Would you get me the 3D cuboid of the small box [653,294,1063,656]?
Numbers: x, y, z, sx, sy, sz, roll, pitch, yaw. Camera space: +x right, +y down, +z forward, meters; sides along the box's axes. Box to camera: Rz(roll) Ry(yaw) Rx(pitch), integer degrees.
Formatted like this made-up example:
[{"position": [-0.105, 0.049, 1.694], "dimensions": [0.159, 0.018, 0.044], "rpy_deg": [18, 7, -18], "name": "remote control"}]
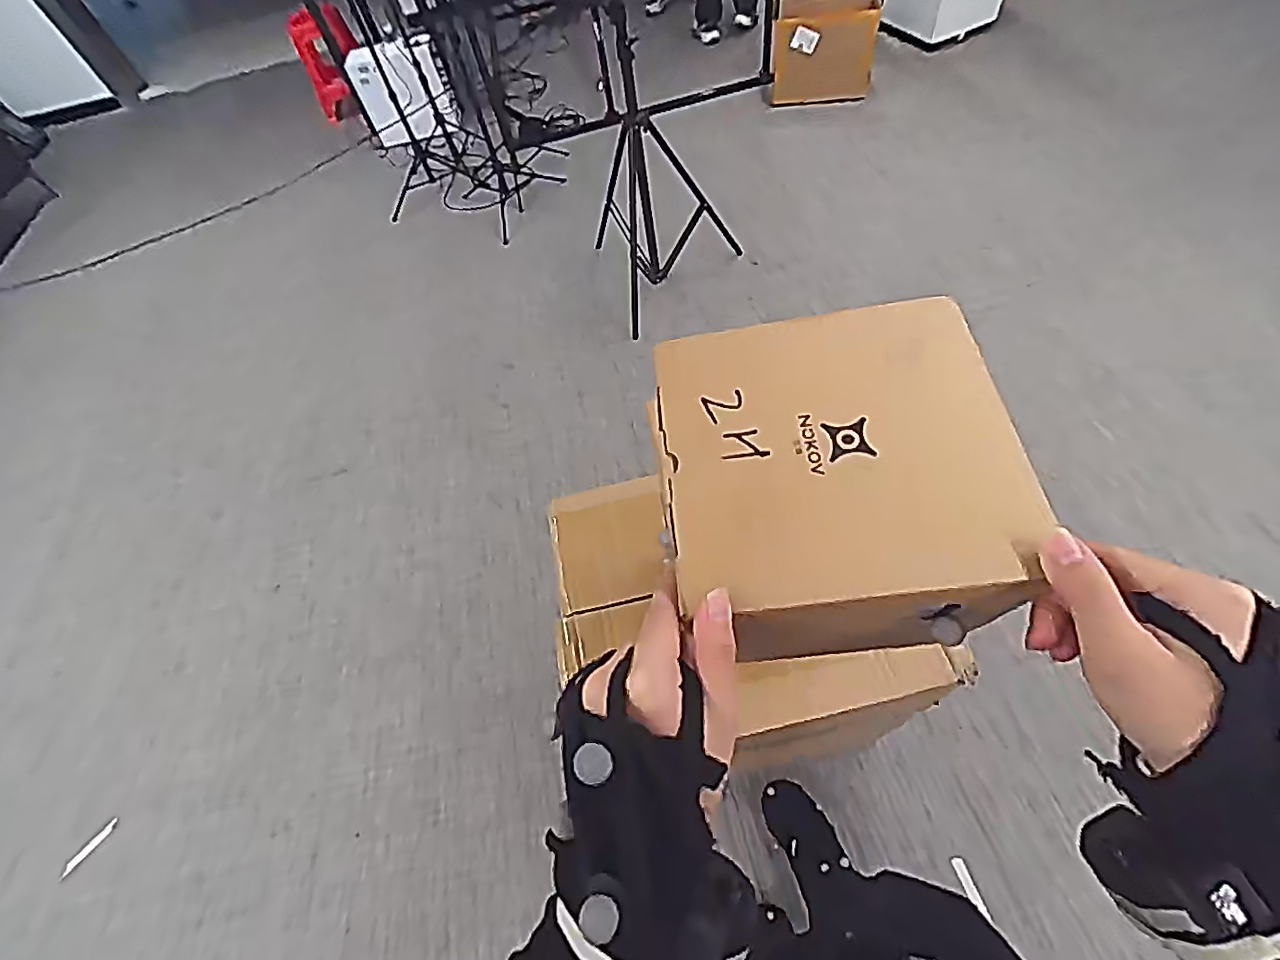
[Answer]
[{"position": [0.110, 0.012, 0.353], "dimensions": [0.179, 0.176, 0.168], "rpy_deg": [-8, 62, 7], "name": "small box"}]
